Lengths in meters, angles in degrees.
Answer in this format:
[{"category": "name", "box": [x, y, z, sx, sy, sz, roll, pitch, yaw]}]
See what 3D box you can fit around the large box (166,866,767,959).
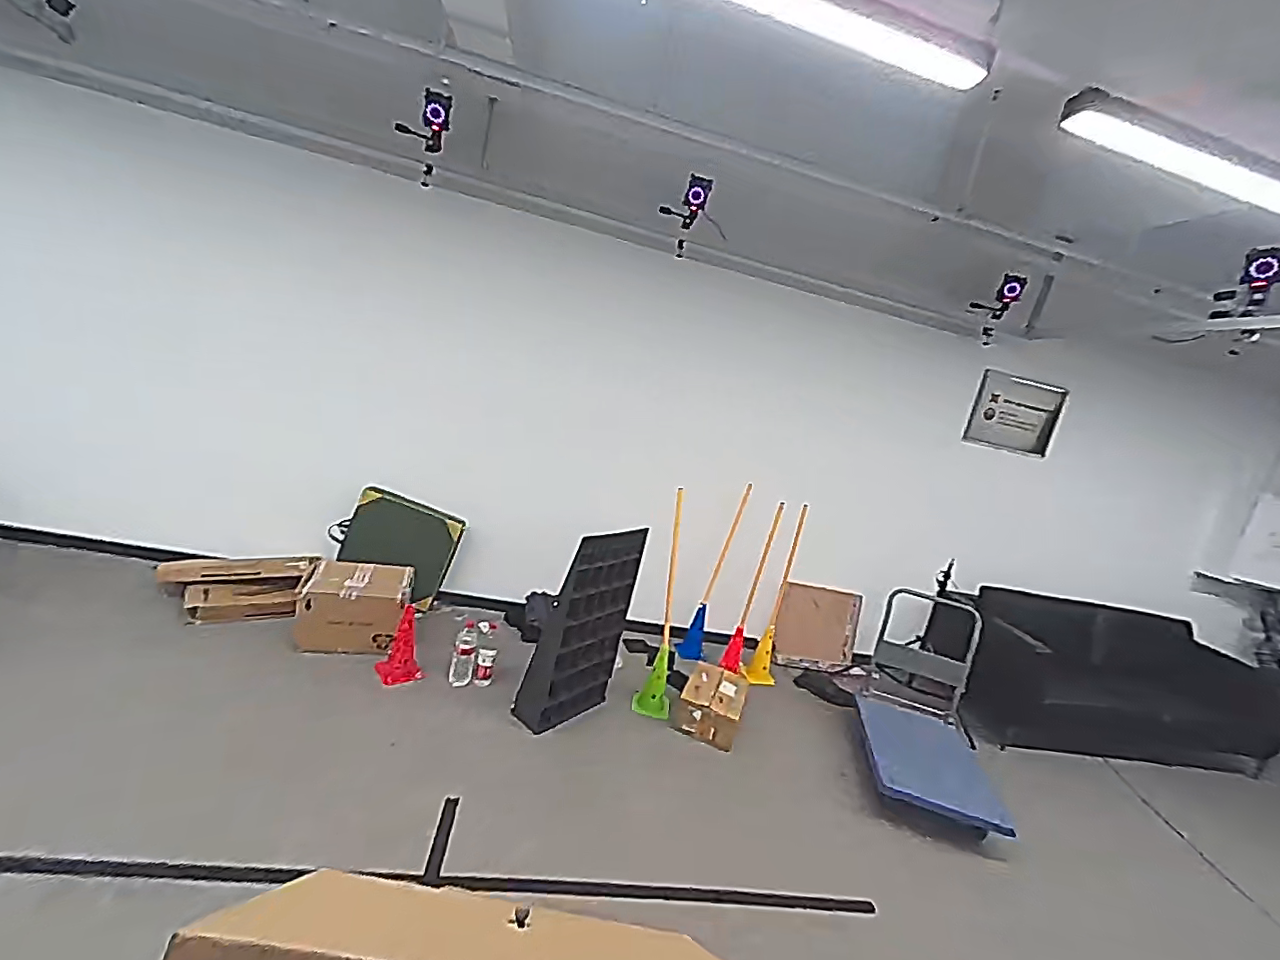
[{"category": "large box", "box": [-0.115, 0.482, 0.362, 0.408, 0.320, 0.320, 15, -32, -7]}]
